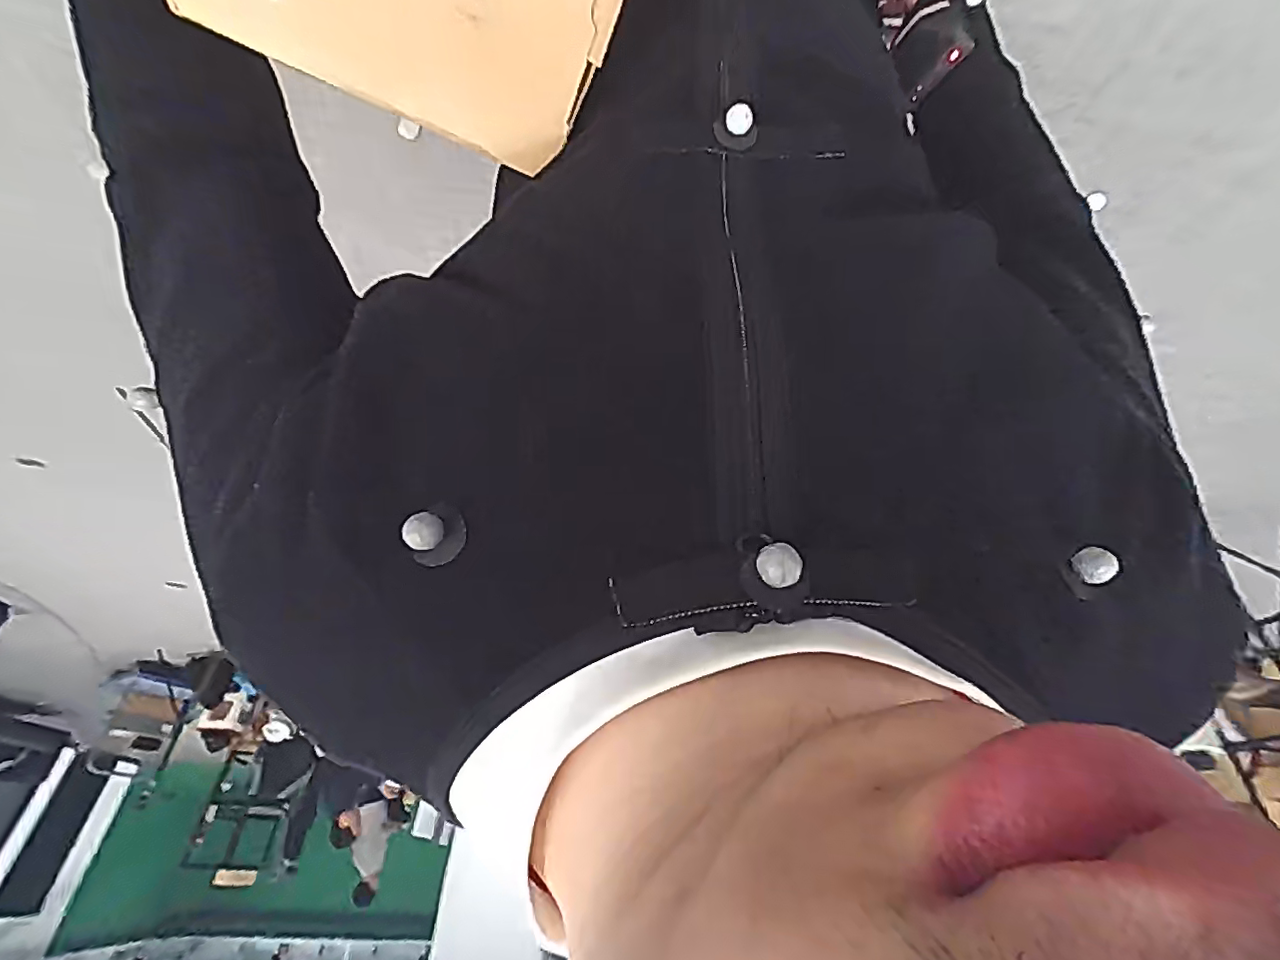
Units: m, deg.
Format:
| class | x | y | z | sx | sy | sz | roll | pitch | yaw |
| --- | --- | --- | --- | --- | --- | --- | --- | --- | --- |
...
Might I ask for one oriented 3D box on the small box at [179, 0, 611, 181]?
| class | x | y | z | sx | sy | sz | roll | pitch | yaw |
| --- | --- | --- | --- | --- | --- | --- | --- | --- | --- |
| small box | -0.114 | -0.298 | 0.302 | 0.179 | 0.176 | 0.168 | 13 | 118 | -25 |
